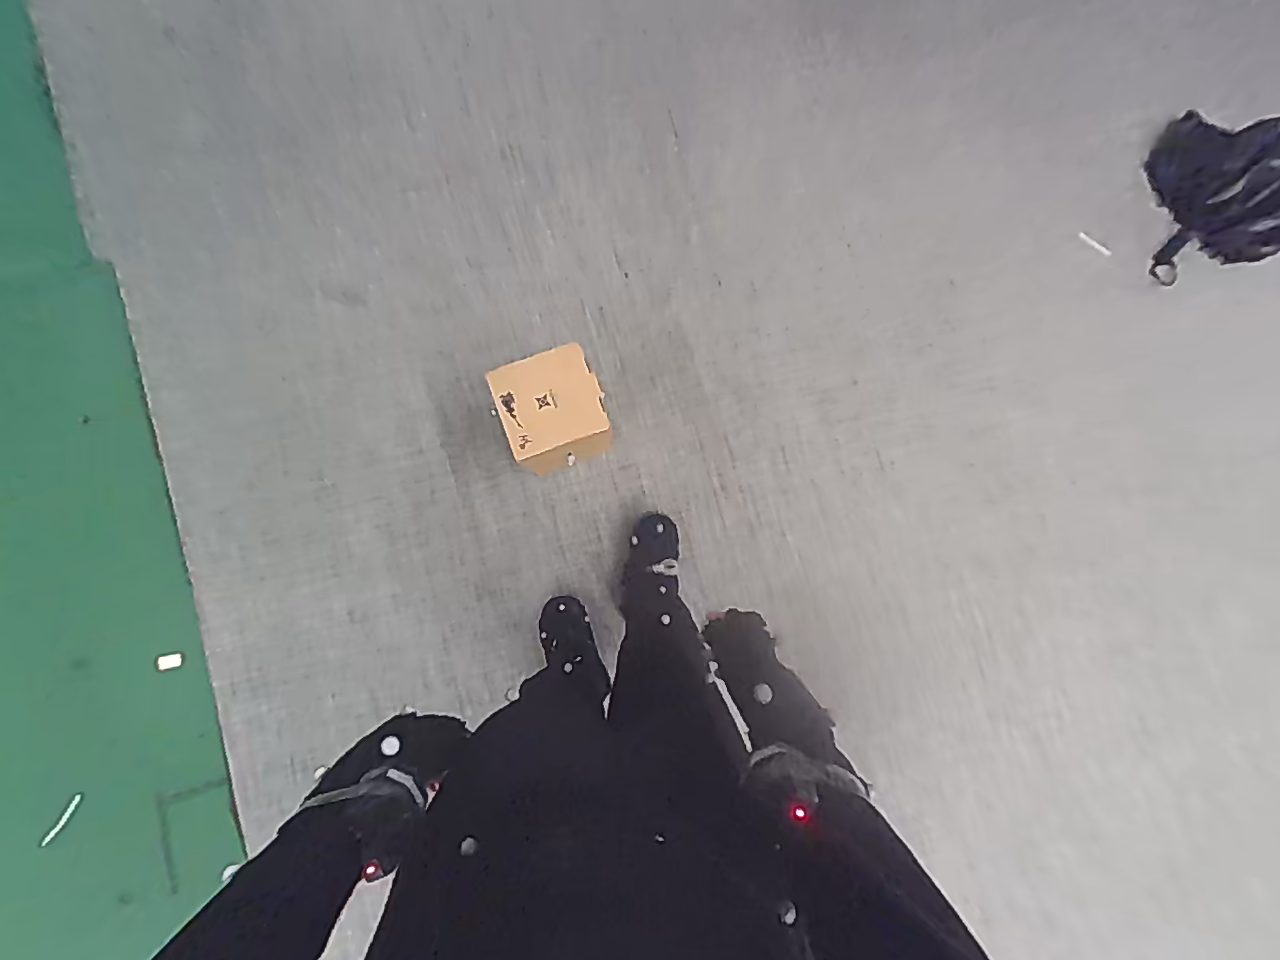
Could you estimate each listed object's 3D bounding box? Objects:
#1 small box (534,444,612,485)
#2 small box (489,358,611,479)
[{"bbox_3d":[-0.176,-0.099,1.188,0.179,0.176,0.168,-25,87,-6],"label":"small box"},{"bbox_3d":[-0.164,-0.109,1.026,0.179,0.176,0.168,-20,86,-6],"label":"small box"}]
